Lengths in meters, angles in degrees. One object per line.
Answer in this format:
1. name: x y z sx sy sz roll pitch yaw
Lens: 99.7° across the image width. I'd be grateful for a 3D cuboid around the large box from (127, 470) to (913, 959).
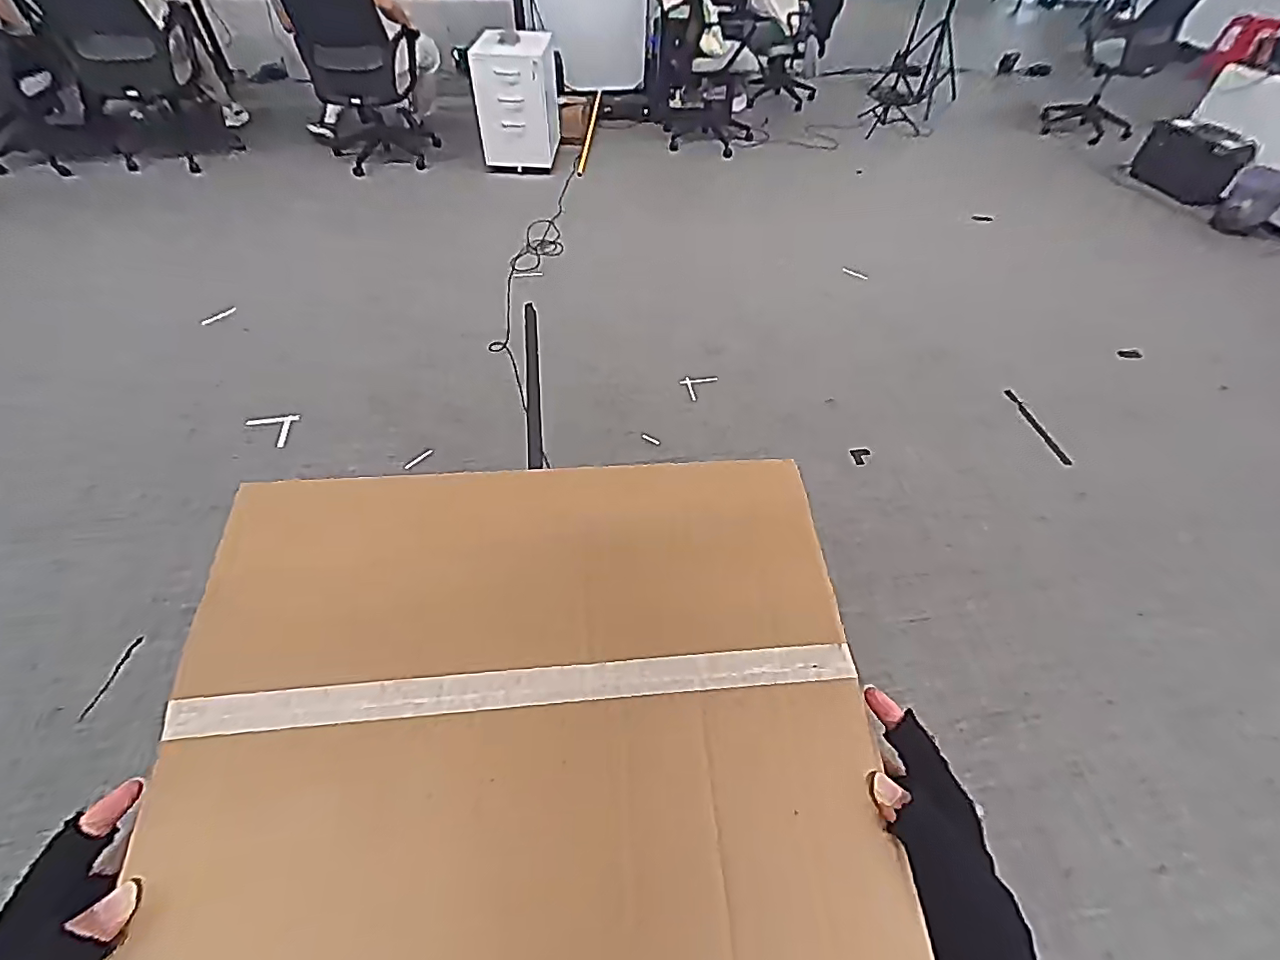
1. large box: -0.075 0.211 0.466 0.408 0.320 0.320 -3 60 -6
